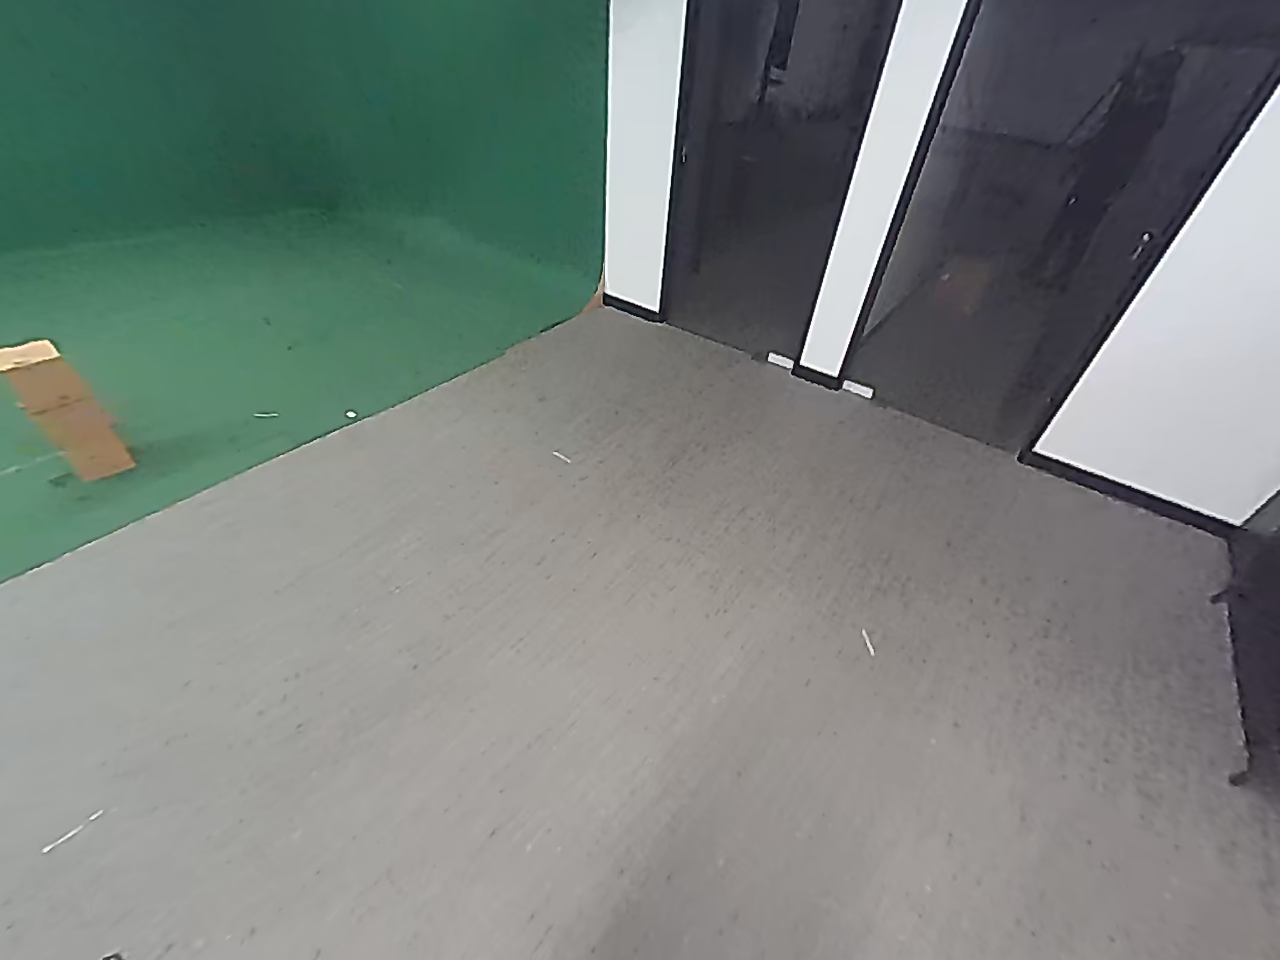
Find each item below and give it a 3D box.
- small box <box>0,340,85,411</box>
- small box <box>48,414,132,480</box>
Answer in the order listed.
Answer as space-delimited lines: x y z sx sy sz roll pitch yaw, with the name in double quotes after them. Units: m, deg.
-2.104 -0.364 1.884 0.179 0.176 0.168 31 45 28 "small box"
-2.135 -0.123 2.105 0.179 0.176 0.168 35 48 30 "small box"
